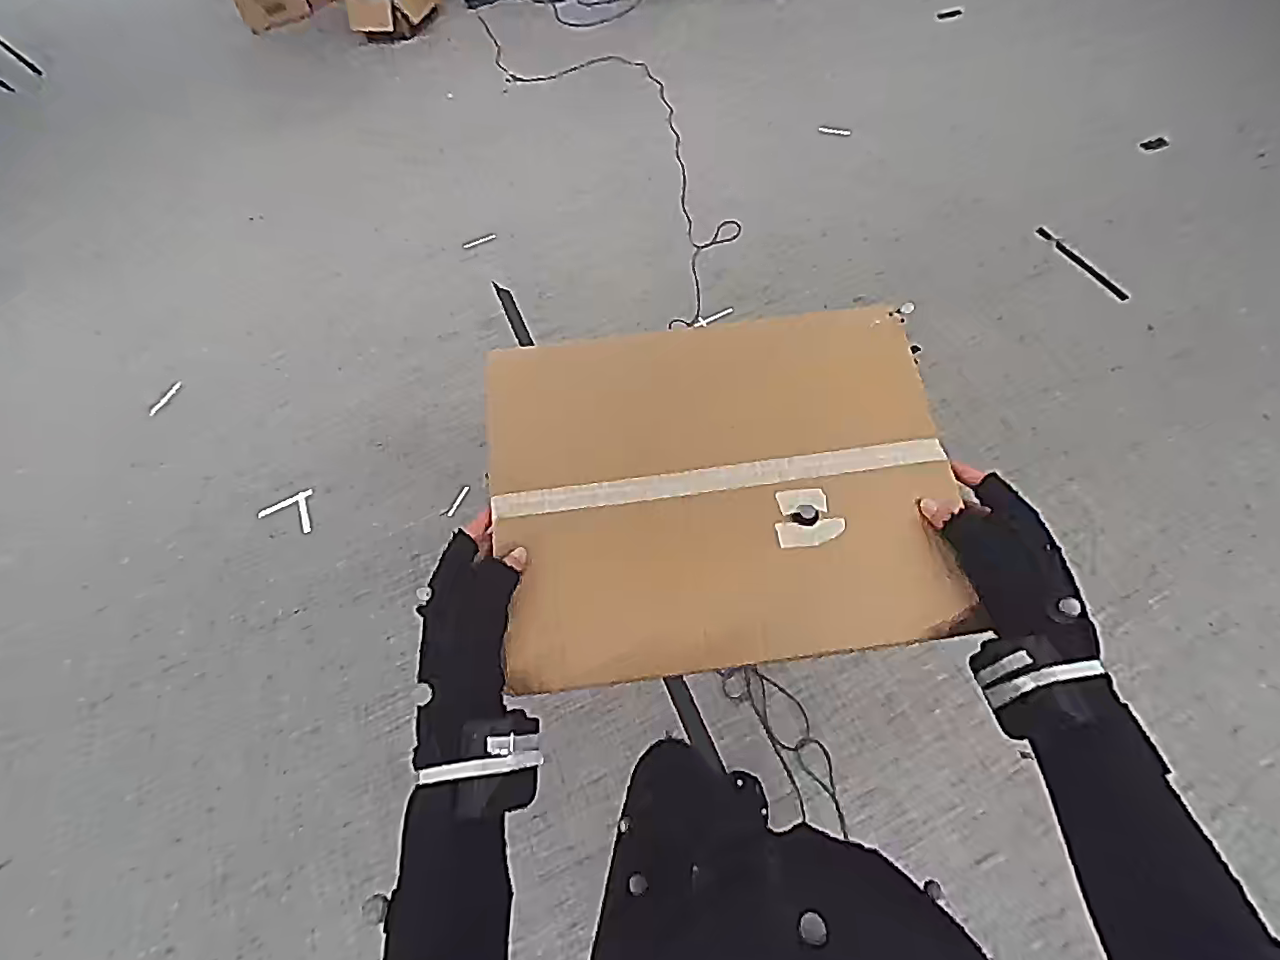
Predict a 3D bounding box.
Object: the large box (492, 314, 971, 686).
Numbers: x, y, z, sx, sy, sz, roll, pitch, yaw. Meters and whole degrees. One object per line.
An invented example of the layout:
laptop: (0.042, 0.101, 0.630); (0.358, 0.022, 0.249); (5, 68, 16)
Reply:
large box: (0.069, 0.046, 0.640); (0.408, 0.320, 0.320); (-7, 73, -1)
